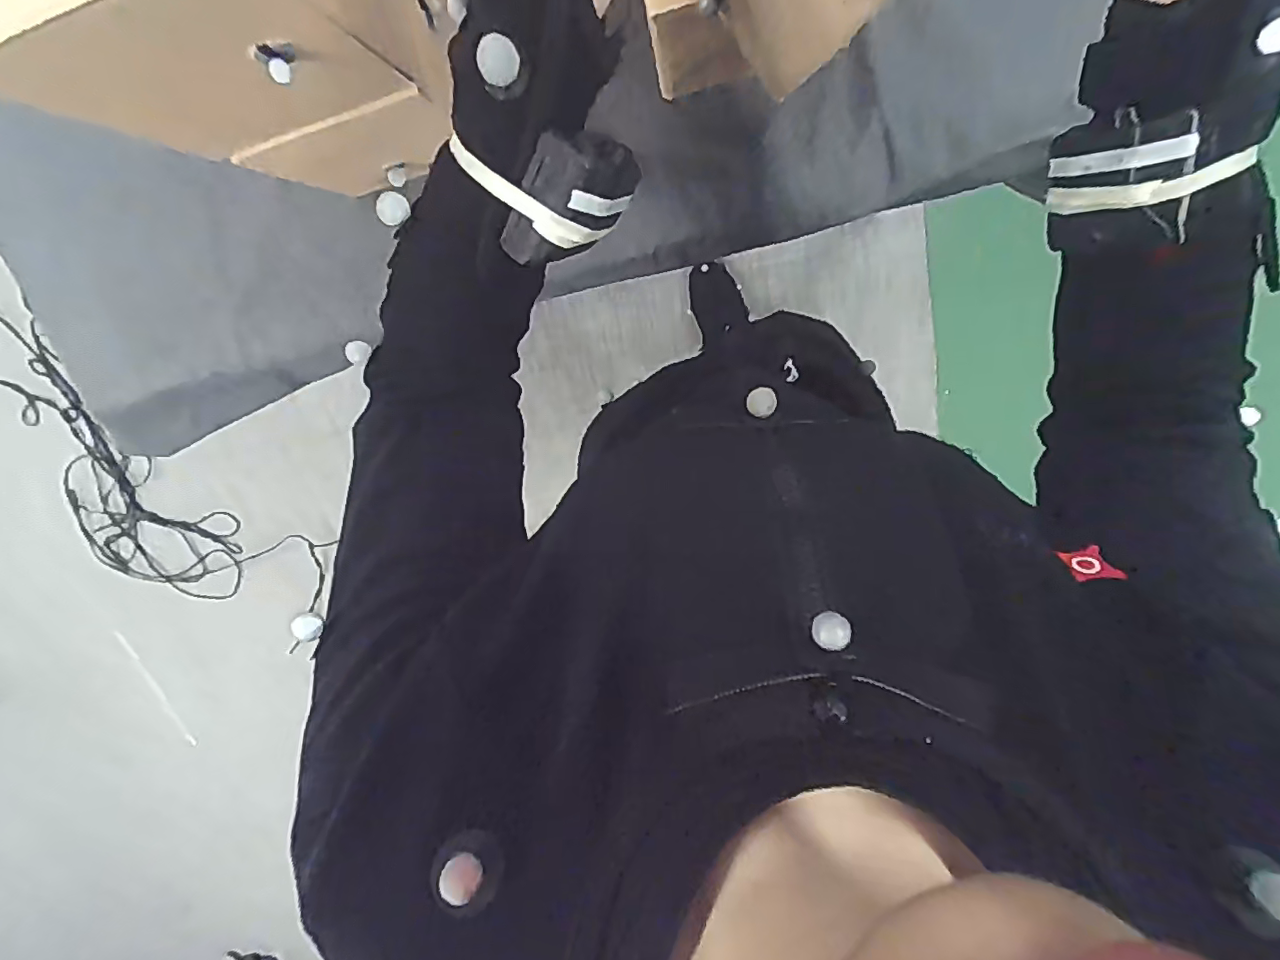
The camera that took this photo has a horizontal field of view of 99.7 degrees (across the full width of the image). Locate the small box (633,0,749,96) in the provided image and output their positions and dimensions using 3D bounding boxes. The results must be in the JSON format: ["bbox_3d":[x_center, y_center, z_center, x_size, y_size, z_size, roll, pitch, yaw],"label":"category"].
[{"bbox_3d":[0.072,-0.430,0.410,0.179,0.176,0.168,-11,107,8],"label":"small box"}]

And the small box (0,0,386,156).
[{"bbox_3d":[-0.275,-0.314,0.304,0.179,0.176,0.168,-13,106,10],"label":"small box"}]

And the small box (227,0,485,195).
[{"bbox_3d":[-0.256,-0.368,0.456,0.168,0.176,0.179,-12,108,9],"label":"small box"}]

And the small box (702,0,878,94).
[{"bbox_3d":[0.095,-0.319,0.228,0.179,0.176,0.168,-38,109,14],"label":"small box"}]
